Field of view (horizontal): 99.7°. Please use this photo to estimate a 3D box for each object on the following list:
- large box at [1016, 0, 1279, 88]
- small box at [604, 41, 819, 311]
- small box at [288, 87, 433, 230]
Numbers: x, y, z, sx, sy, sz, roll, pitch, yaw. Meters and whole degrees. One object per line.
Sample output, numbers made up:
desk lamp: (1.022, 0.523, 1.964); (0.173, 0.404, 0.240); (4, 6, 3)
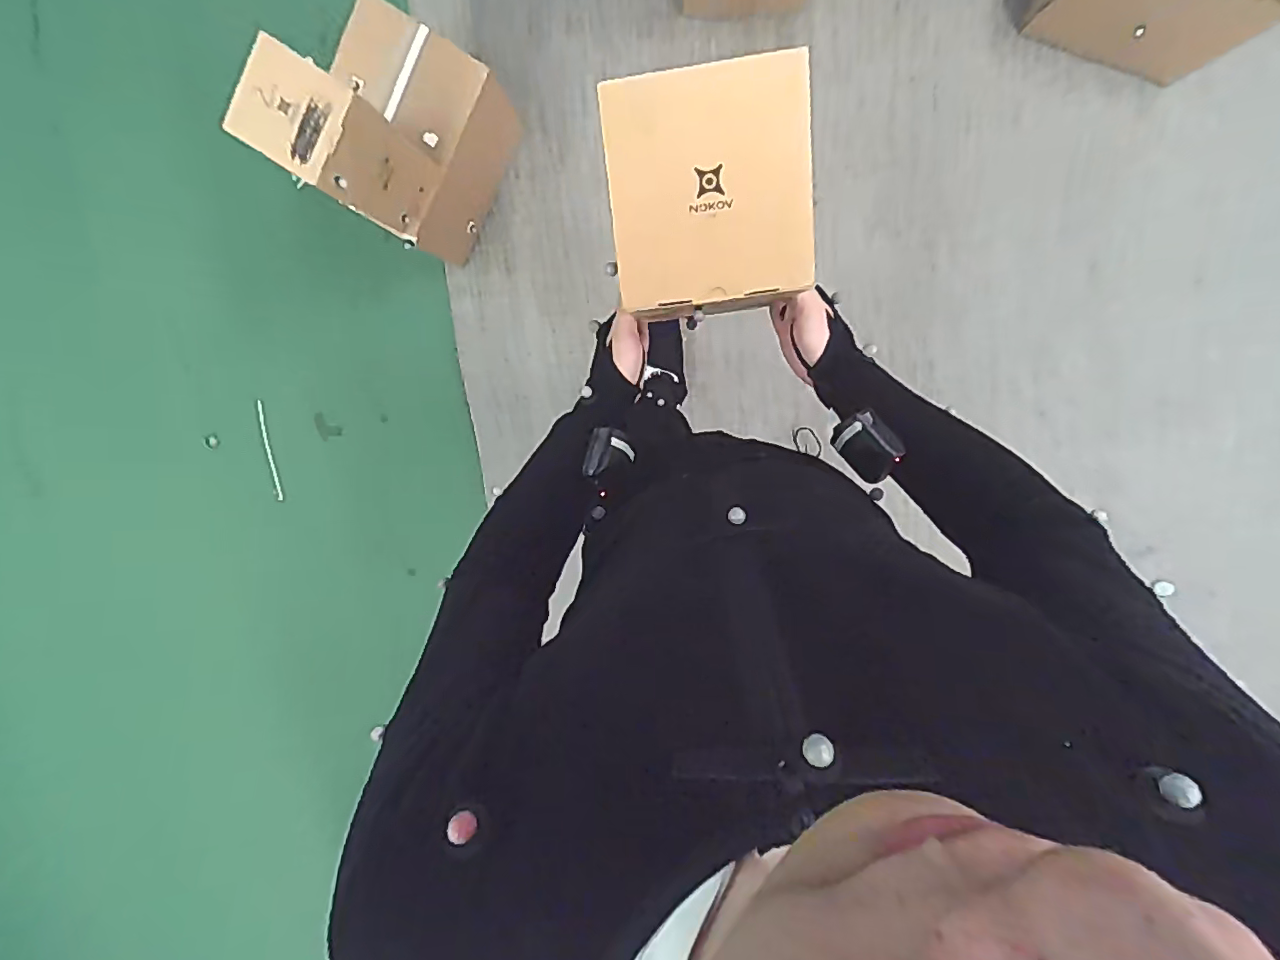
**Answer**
large box: (1.157, -1.139, 1.171); (0.408, 0.320, 0.320); (18, 101, 0)
small box: (0.063, -0.262, 0.511); (0.168, 0.176, 0.179); (-6, 105, 5)
small box: (-0.560, -0.642, 1.110); (0.179, 0.176, 0.168); (33, 100, -4)
